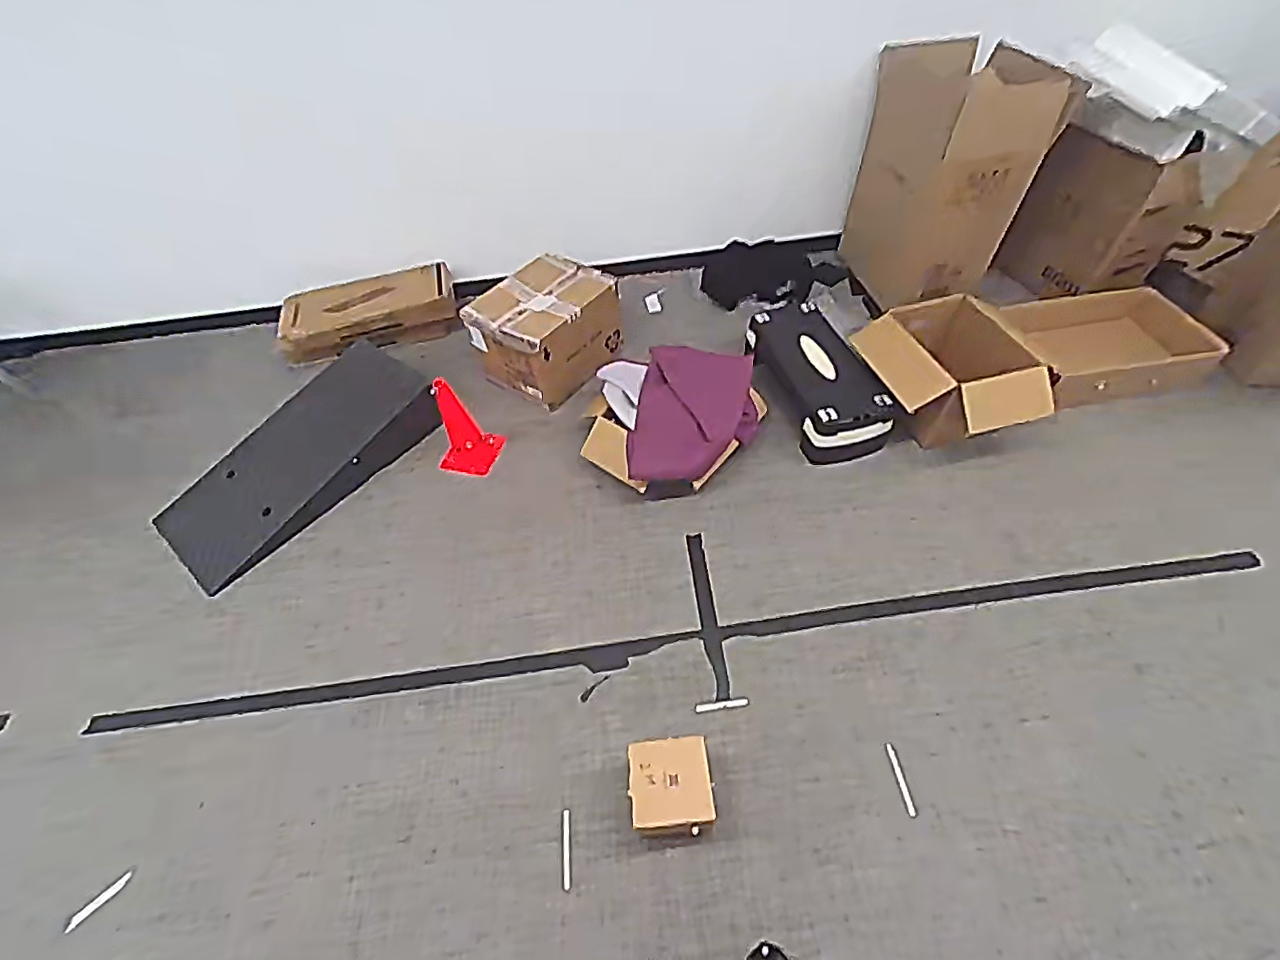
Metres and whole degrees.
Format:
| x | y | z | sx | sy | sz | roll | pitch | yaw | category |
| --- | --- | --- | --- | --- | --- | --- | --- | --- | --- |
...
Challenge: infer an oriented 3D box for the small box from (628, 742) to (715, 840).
| x | y | z | sx | sy | sz | roll | pitch | yaw | category |
| --- | --- | --- | --- | --- | --- | --- | --- | --- | --- |
| 0.070 | 0.714 | 1.238 | 0.179 | 0.176 | 0.168 | -7 | 51 | 0 | small box |
